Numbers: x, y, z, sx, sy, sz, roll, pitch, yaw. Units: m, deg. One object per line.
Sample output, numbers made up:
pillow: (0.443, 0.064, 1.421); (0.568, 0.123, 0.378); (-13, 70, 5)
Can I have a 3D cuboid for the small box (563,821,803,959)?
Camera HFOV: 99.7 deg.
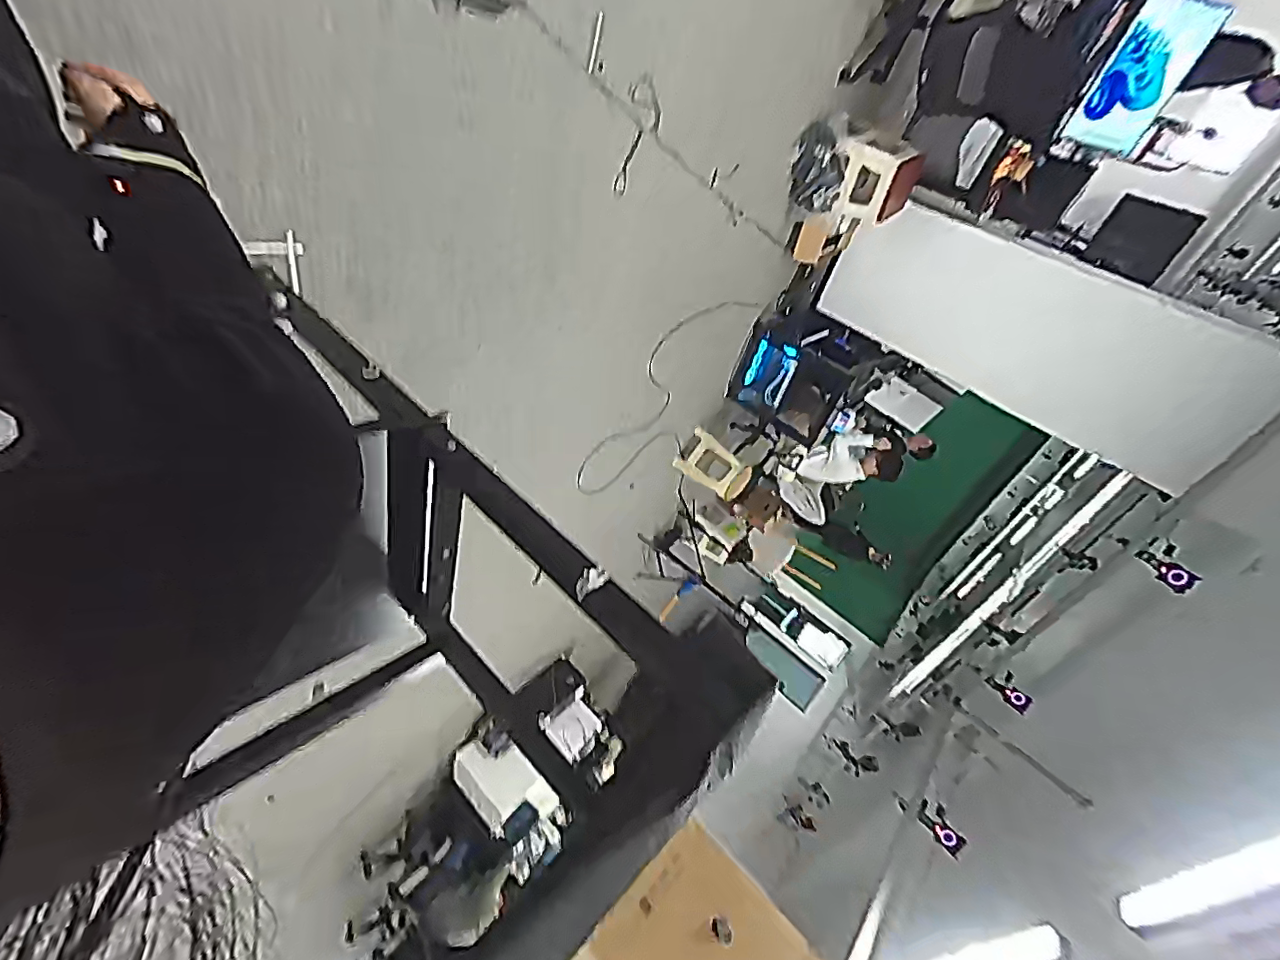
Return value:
small box: (0.035, 0.513, 0.580); (0.168, 0.176, 0.179); (-26, 148, -45)
